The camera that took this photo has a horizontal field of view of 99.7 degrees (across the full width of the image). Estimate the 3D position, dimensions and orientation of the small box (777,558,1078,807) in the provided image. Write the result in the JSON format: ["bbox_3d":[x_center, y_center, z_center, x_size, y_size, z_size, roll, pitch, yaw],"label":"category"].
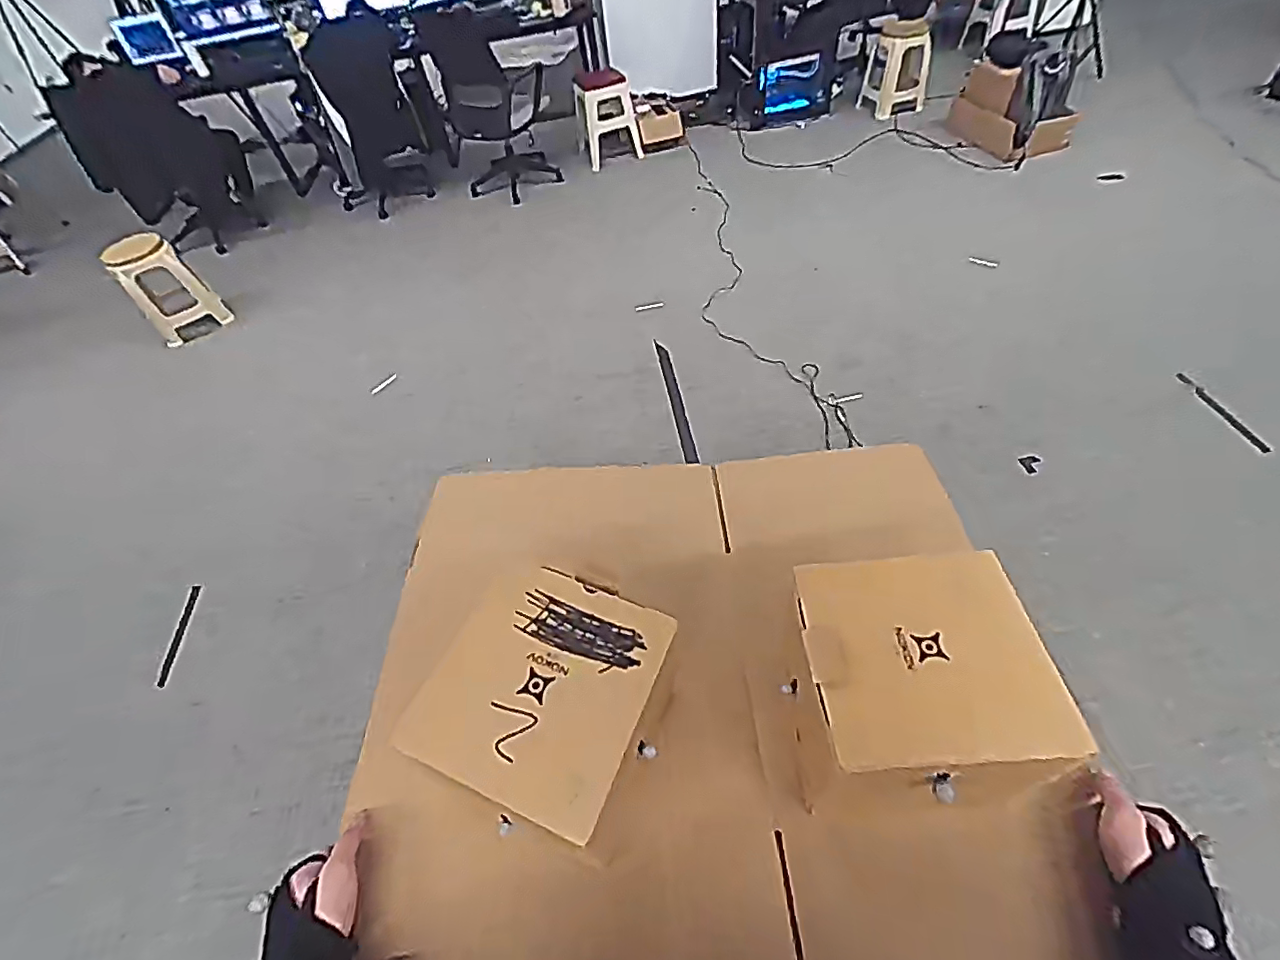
[{"bbox_3d":[0.232,0.191,0.497,0.179,0.176,0.168,-6,49,5],"label":"small box"}]
